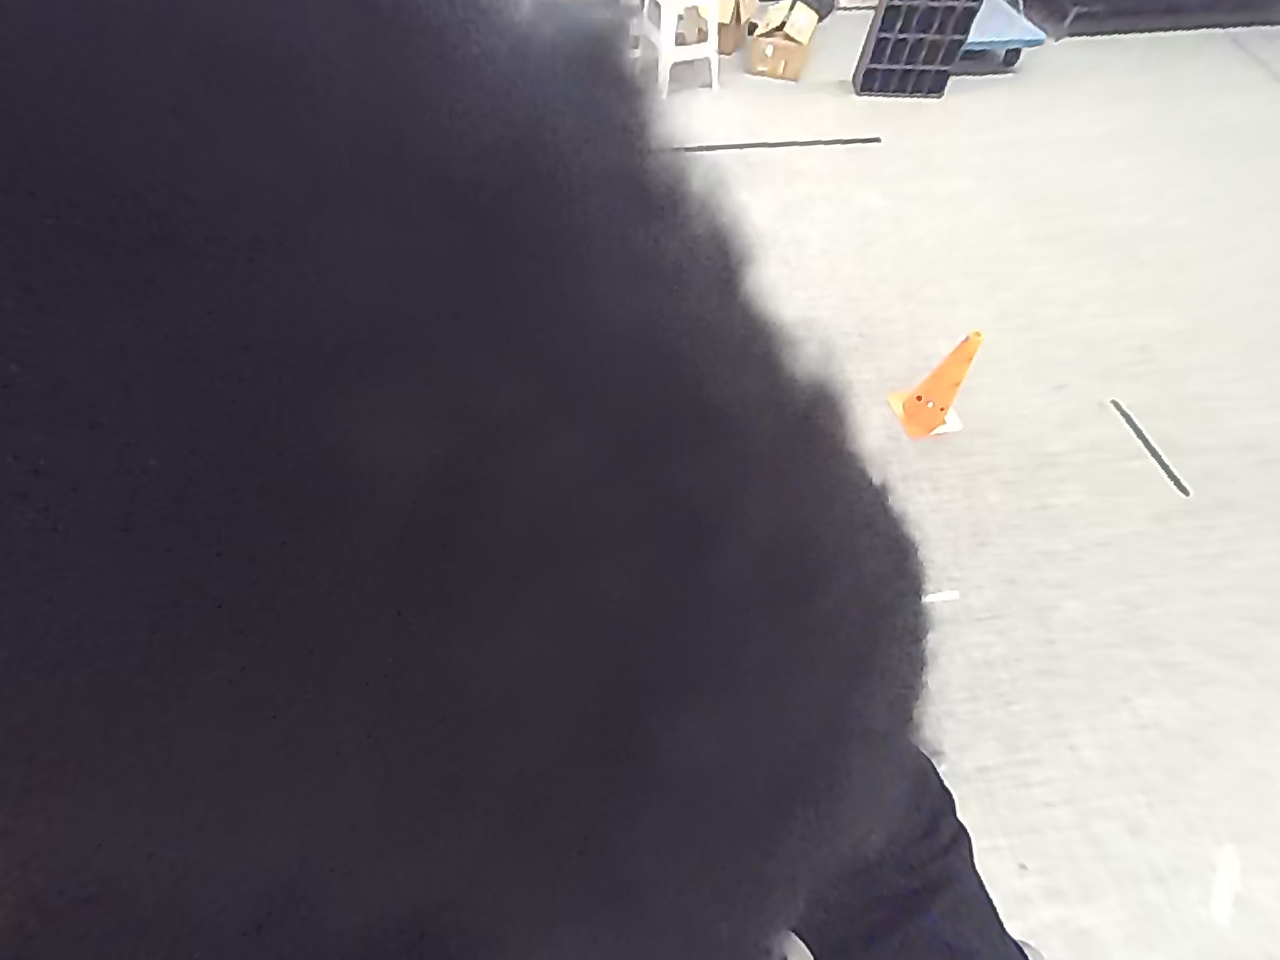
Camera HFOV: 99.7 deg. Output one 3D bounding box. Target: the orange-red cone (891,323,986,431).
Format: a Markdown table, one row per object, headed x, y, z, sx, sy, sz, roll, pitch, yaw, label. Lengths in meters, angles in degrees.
| x | y | z | sx | sy | sz | roll | pitch | yaw | label |
| --- | --- | --- | --- | --- | --- | --- | --- | --- | --- |
| 0.974 | -0.343 | 1.698 | 0.198 | 0.360 | 0.199 | -8 | 57 | -6 | orange-red cone |
